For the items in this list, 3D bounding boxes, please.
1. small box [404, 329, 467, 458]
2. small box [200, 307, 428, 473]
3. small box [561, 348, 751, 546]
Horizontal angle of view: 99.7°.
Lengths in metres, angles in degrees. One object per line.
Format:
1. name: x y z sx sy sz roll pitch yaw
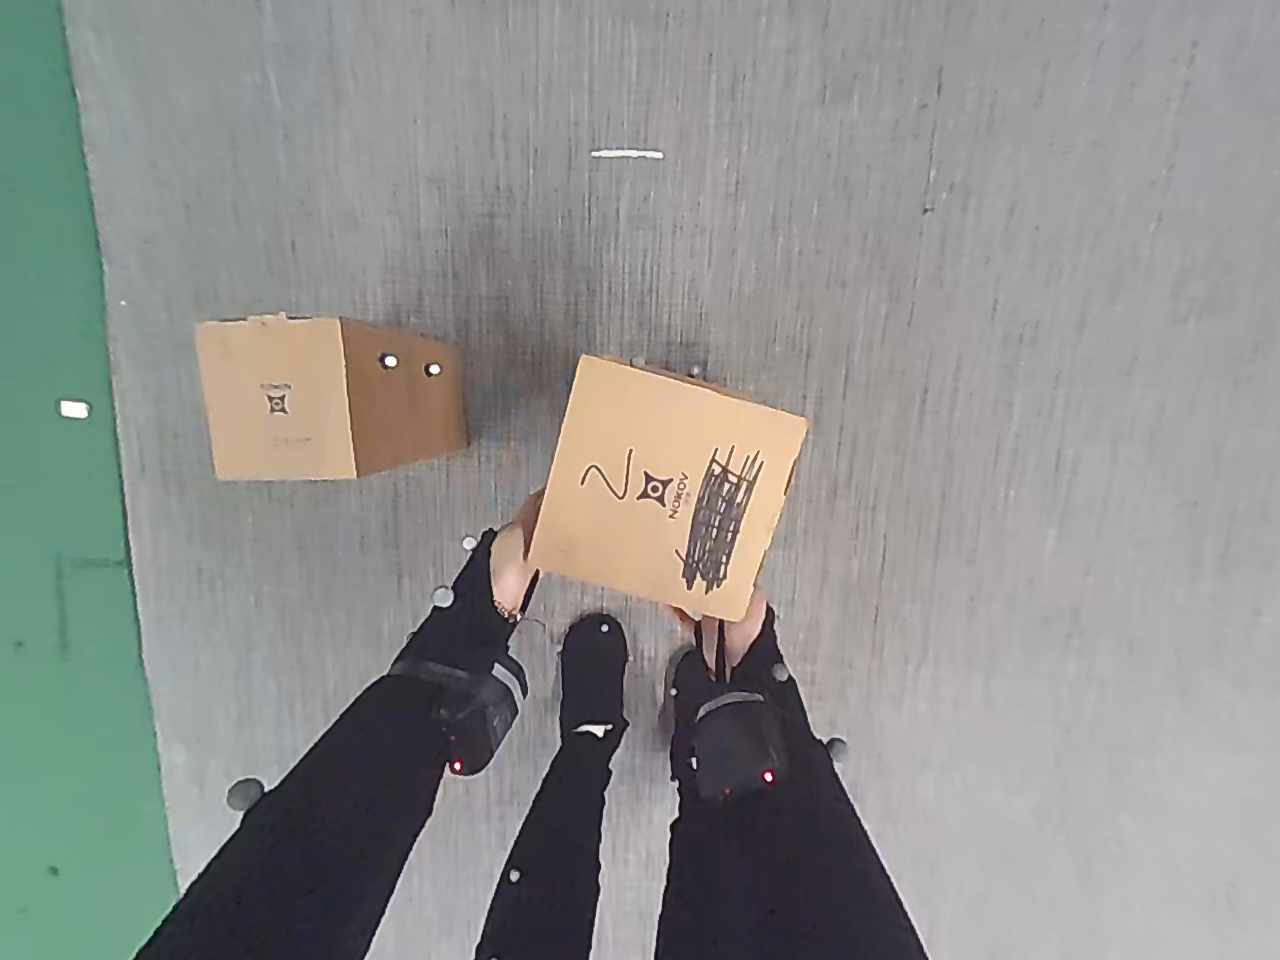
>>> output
1. small box: -0.376 -0.127 0.821 0.168 0.176 0.179 -1 99 3
2. small box: -0.379 -0.106 0.660 0.168 0.176 0.179 -1 100 5
3. small box: 0.020 -0.046 0.647 0.168 0.176 0.179 16 101 1
